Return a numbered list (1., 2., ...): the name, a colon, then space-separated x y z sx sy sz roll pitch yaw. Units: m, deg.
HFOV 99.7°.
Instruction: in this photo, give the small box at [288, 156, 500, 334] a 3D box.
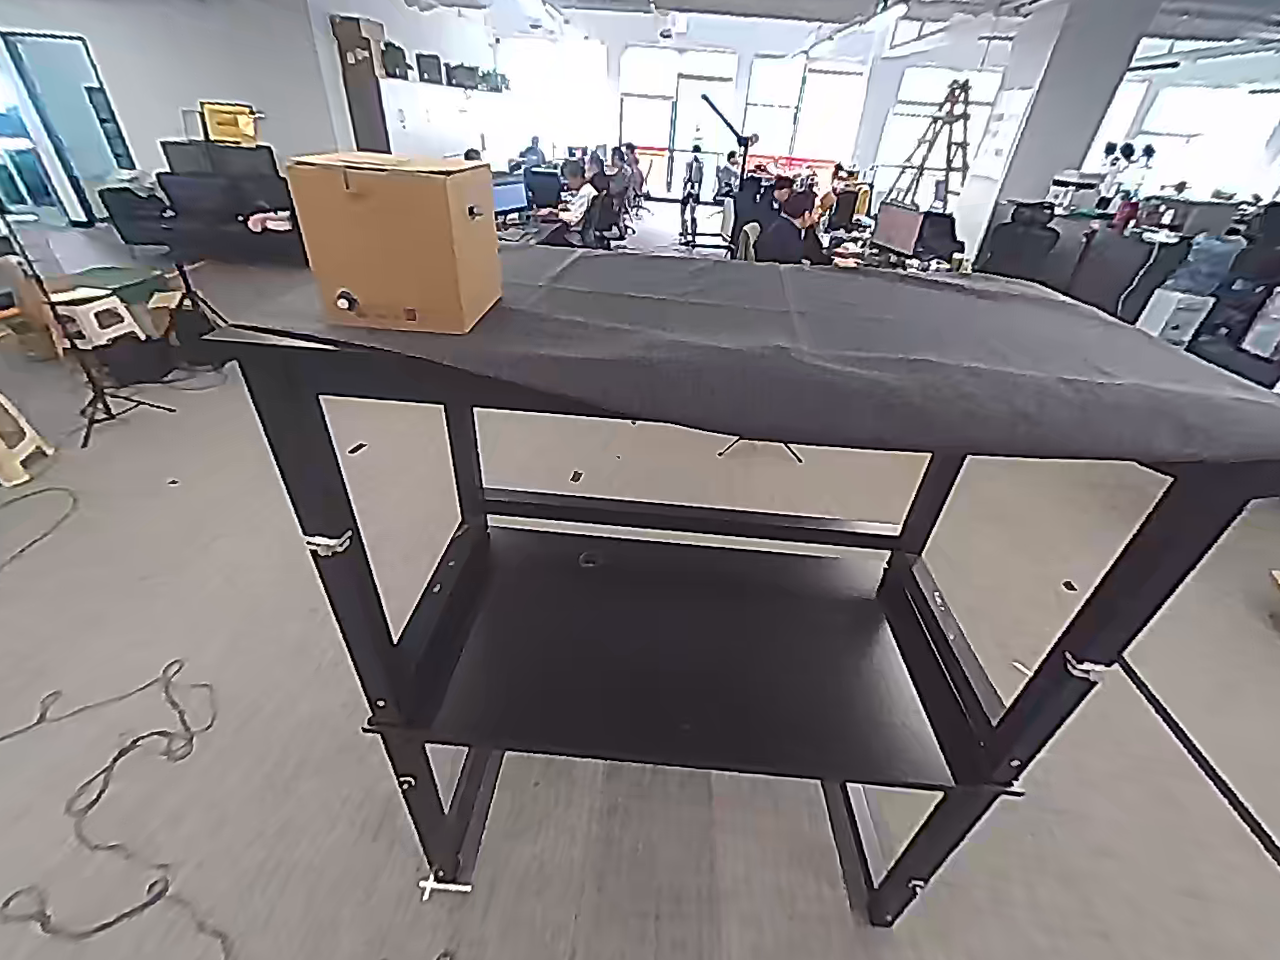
1. small box: -0.273 -0.285 0.654 0.168 0.176 0.179 4 33 0
